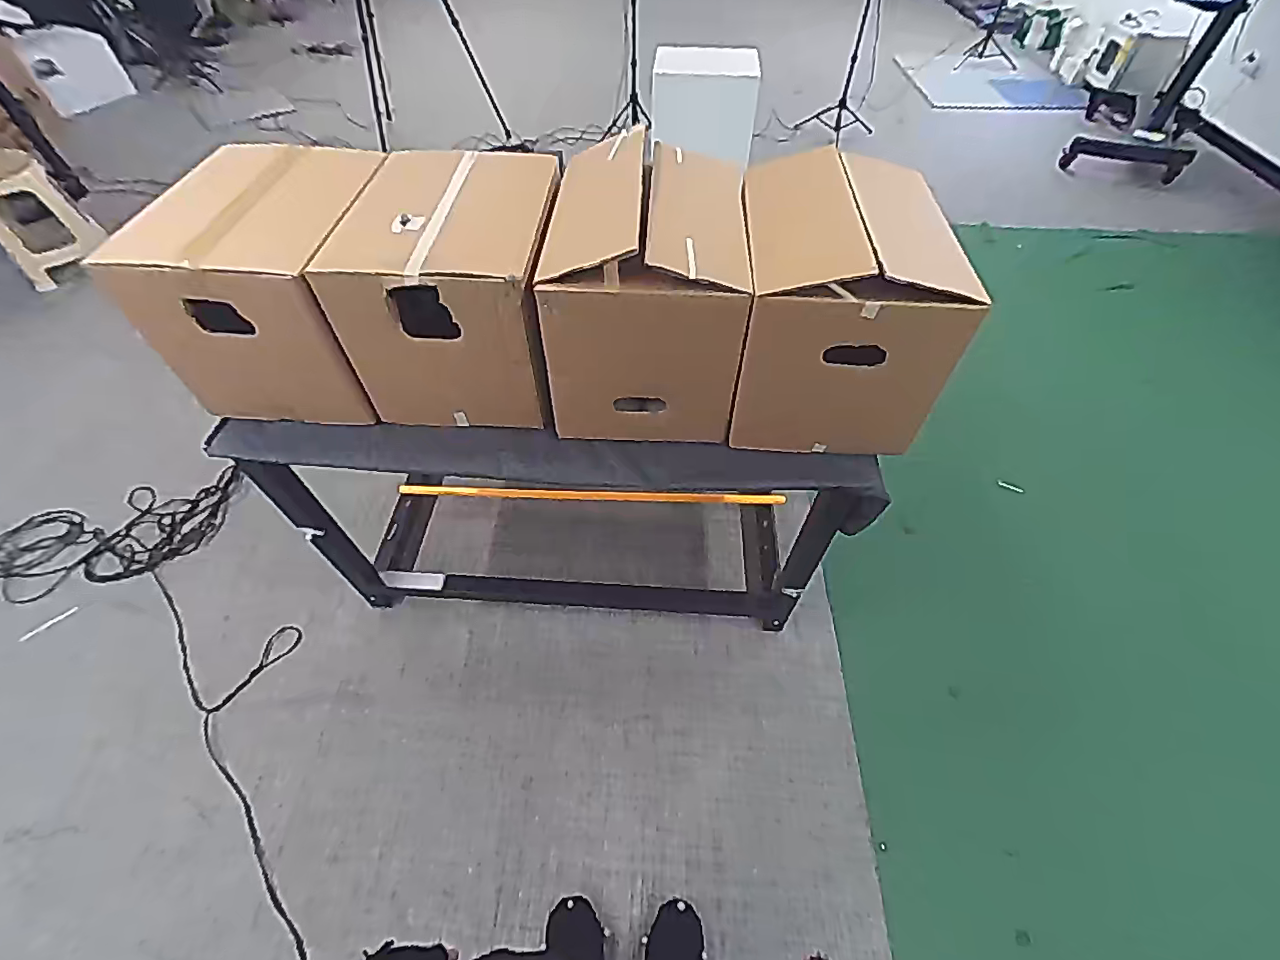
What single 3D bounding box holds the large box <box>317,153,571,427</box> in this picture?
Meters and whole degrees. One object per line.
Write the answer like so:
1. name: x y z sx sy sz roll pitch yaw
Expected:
1. large box: -0.309 -0.352 1.006 0.320 0.320 0.408 2 54 1
